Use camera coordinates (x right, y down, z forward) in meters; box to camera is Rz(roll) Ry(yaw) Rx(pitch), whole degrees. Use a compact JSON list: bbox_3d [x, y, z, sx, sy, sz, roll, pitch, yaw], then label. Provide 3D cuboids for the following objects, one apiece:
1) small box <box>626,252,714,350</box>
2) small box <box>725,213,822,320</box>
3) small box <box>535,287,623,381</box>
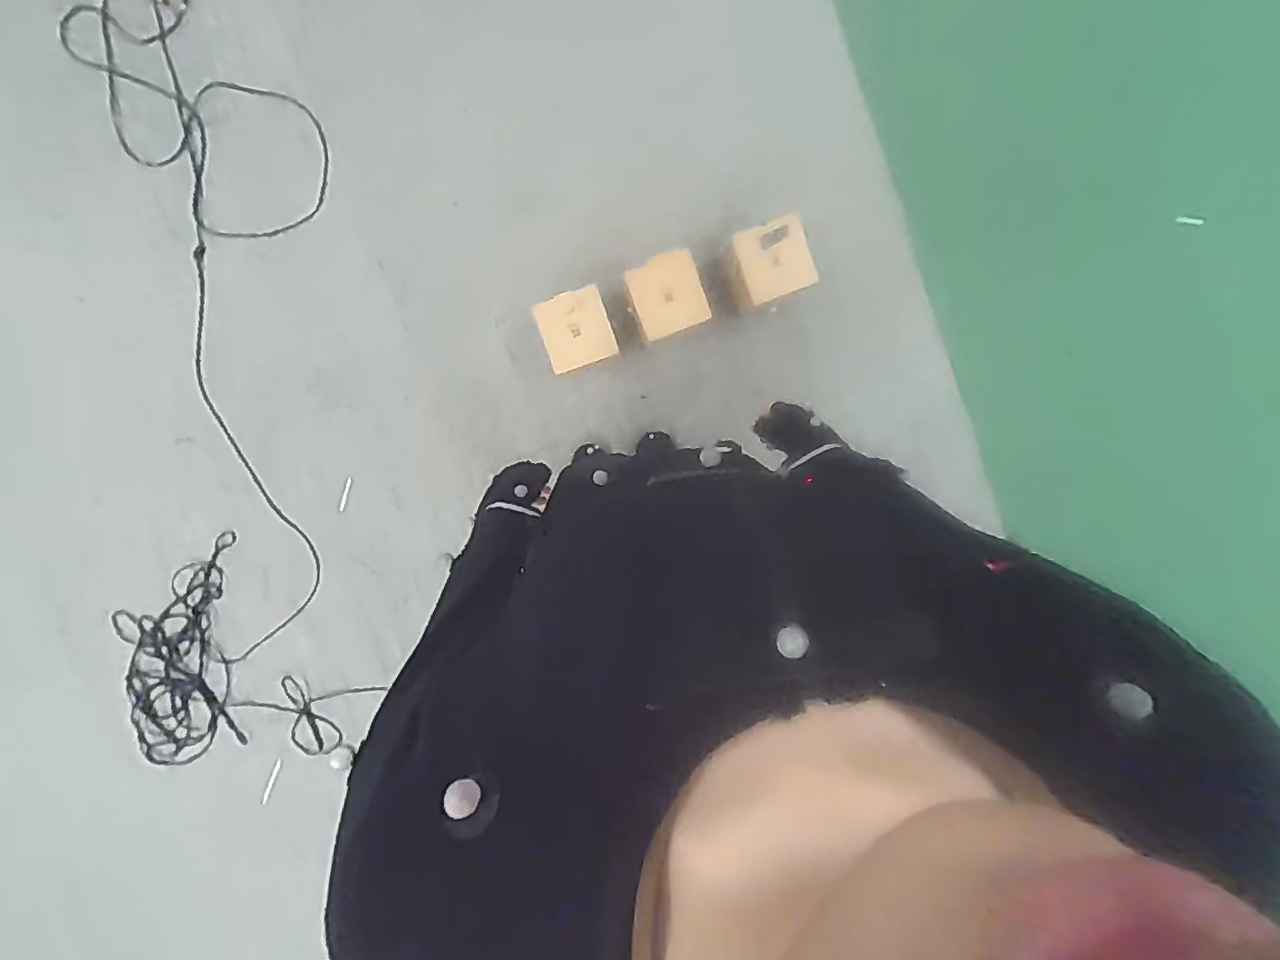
[{"bbox_3d":[0.073,-0.436,1.353,0.168,0.176,0.179,-21,95,2],"label":"small box"},{"bbox_3d":[0.322,-0.521,1.344,0.168,0.176,0.179,-21,96,2],"label":"small box"},{"bbox_3d":[-0.145,-0.356,1.359,0.168,0.176,0.179,-19,95,1],"label":"small box"}]
